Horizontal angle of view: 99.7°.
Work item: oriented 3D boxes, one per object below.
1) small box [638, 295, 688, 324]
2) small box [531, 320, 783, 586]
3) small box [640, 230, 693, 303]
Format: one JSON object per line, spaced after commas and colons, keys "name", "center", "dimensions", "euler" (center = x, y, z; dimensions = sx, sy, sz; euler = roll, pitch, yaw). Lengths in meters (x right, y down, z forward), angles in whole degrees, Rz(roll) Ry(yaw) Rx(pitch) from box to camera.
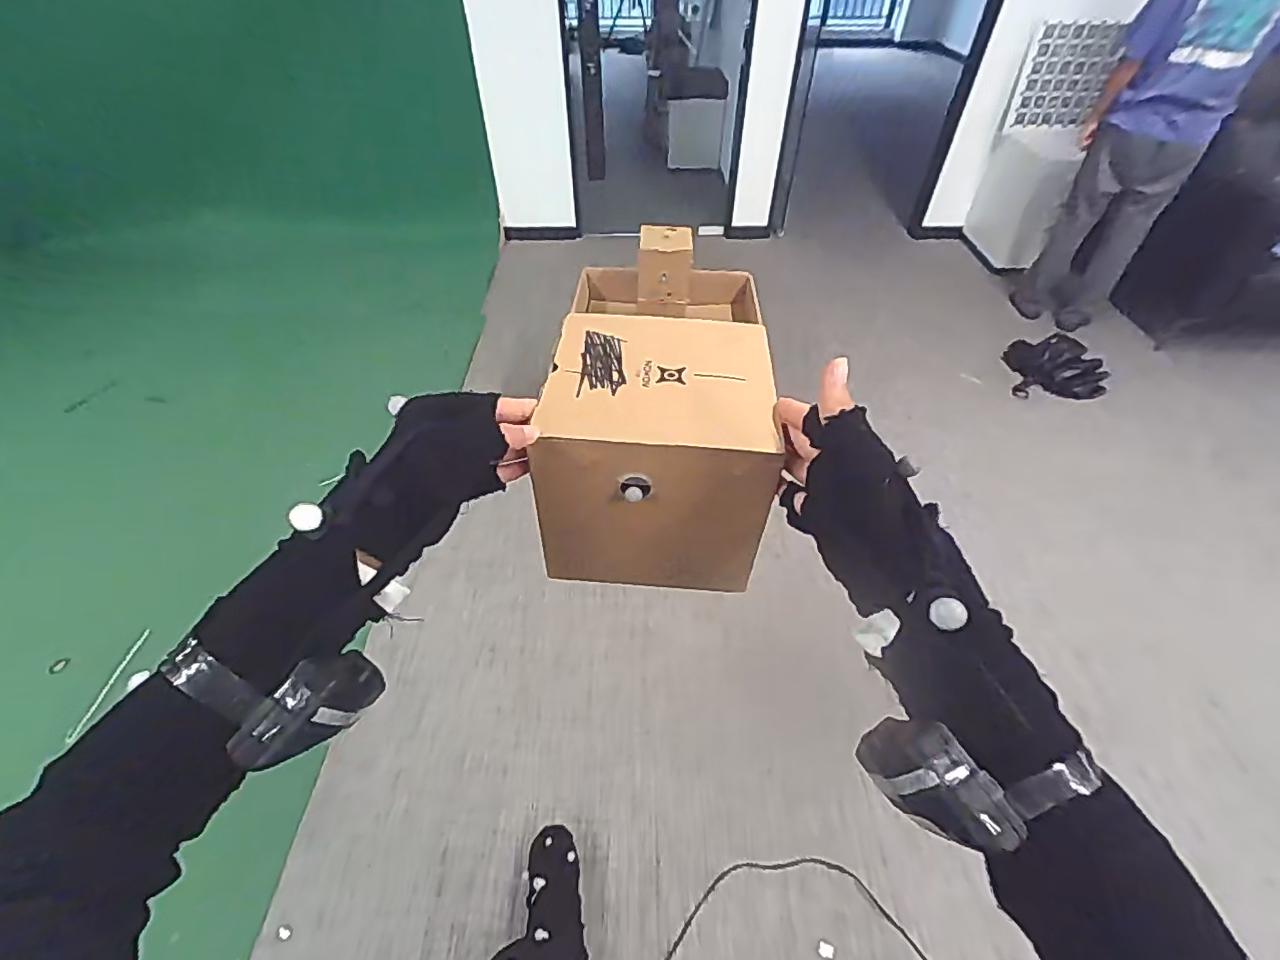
{"name": "small box", "center": [0.079, -0.579, 1.887], "dimensions": [0.168, 0.176, 0.179], "euler": [3, 44, 0]}
{"name": "small box", "center": [0.016, -0.022, 0.477], "dimensions": [0.179, 0.176, 0.168], "euler": [4, 46, 2]}
{"name": "small box", "center": [0.086, -0.699, 1.775], "dimensions": [0.168, 0.176, 0.179], "euler": [3, 47, 0]}
